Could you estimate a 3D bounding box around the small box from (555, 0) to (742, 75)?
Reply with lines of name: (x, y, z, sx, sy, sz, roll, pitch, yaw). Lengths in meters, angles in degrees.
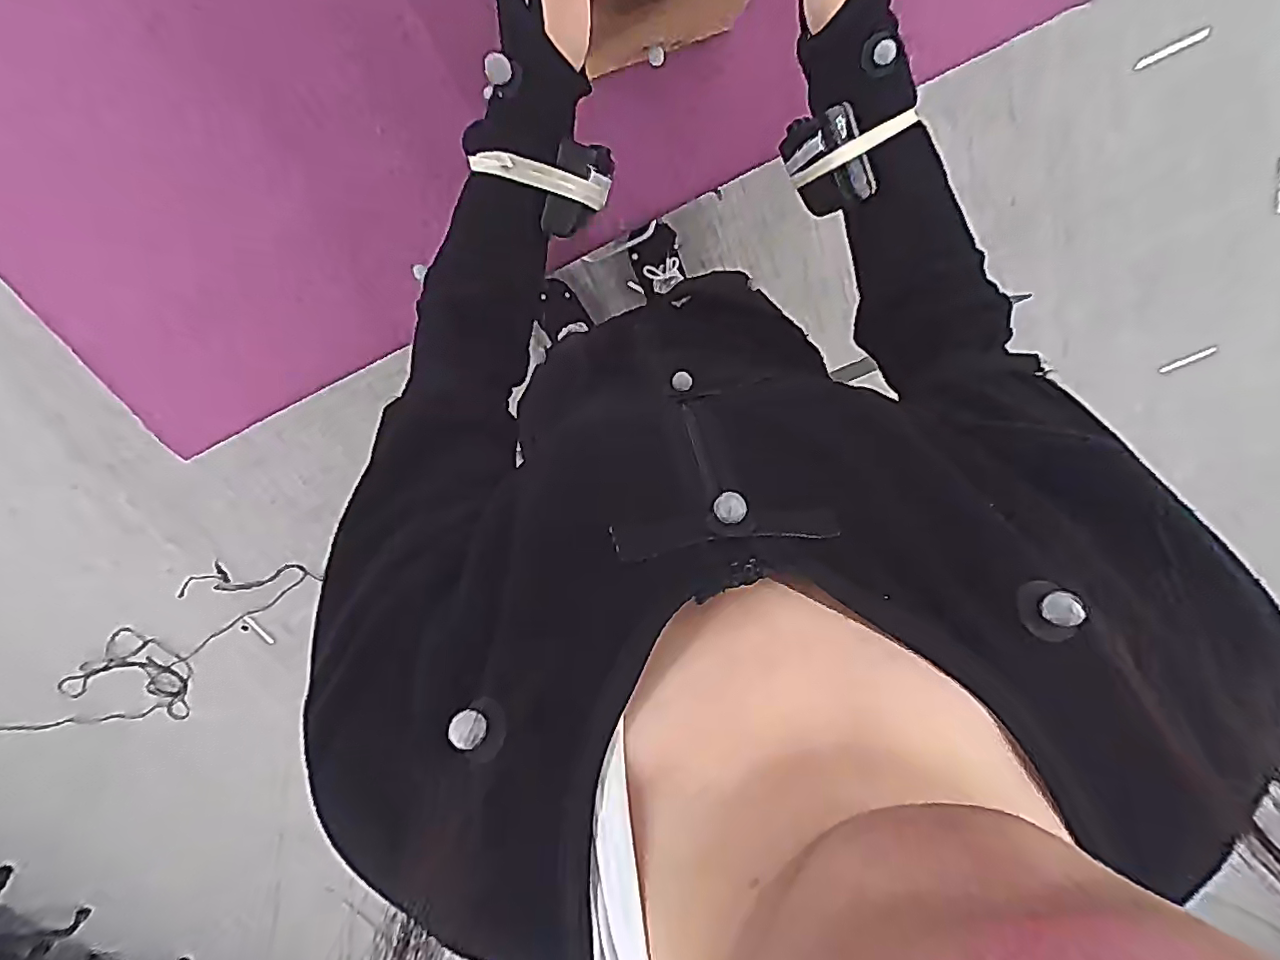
small box: (-0.006, -0.485, 0.457, 0.168, 0.176, 0.179, -16, 117, 4)
